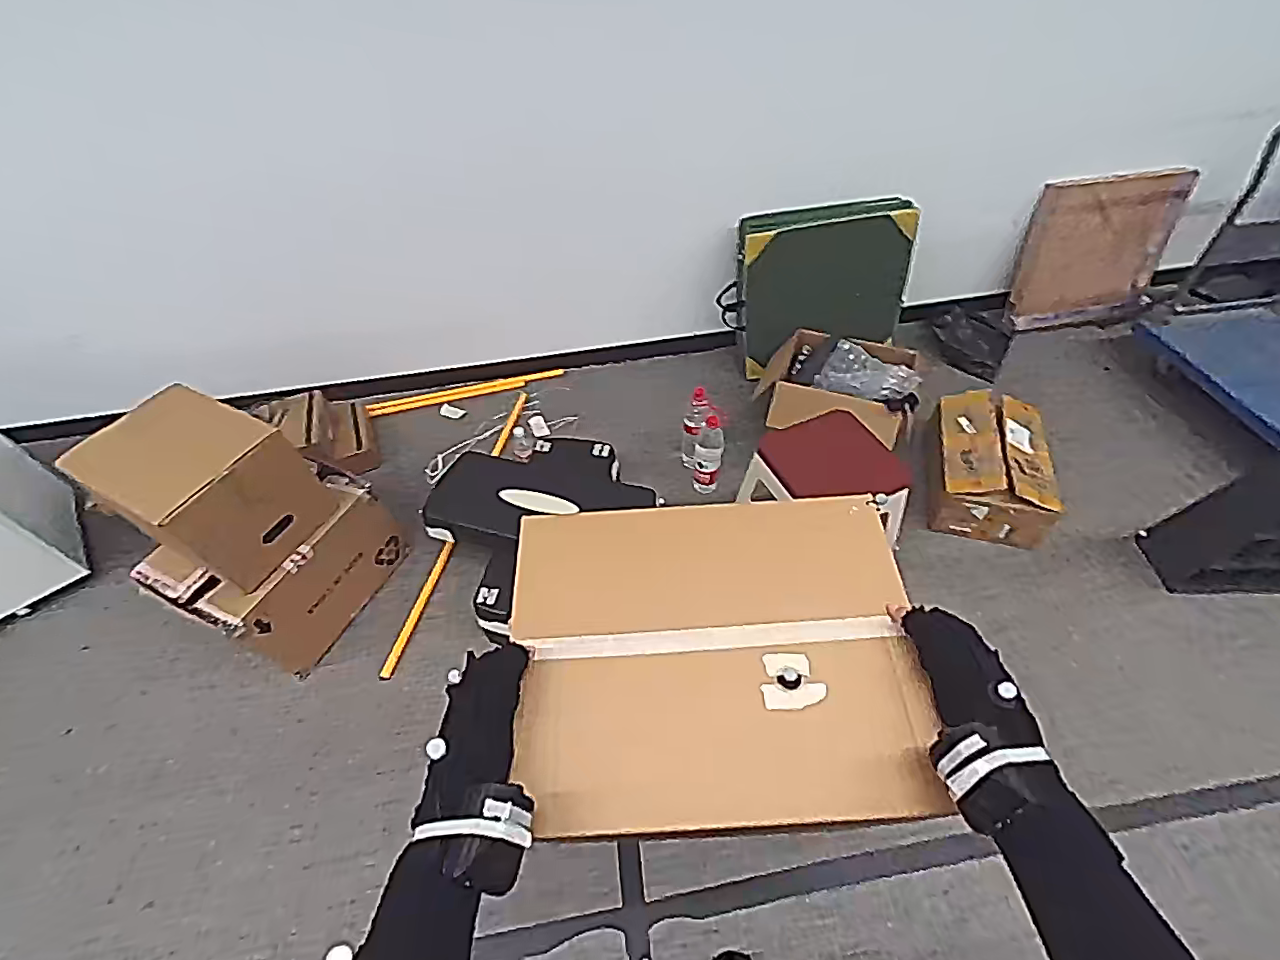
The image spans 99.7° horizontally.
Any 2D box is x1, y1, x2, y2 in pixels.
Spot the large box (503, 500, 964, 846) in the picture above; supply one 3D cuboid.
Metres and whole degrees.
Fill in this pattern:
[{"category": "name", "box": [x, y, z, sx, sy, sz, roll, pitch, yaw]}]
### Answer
[{"category": "large box", "box": [0.076, 0.247, 0.663, 0.408, 0.320, 0.320, -3, 55, 0]}]
